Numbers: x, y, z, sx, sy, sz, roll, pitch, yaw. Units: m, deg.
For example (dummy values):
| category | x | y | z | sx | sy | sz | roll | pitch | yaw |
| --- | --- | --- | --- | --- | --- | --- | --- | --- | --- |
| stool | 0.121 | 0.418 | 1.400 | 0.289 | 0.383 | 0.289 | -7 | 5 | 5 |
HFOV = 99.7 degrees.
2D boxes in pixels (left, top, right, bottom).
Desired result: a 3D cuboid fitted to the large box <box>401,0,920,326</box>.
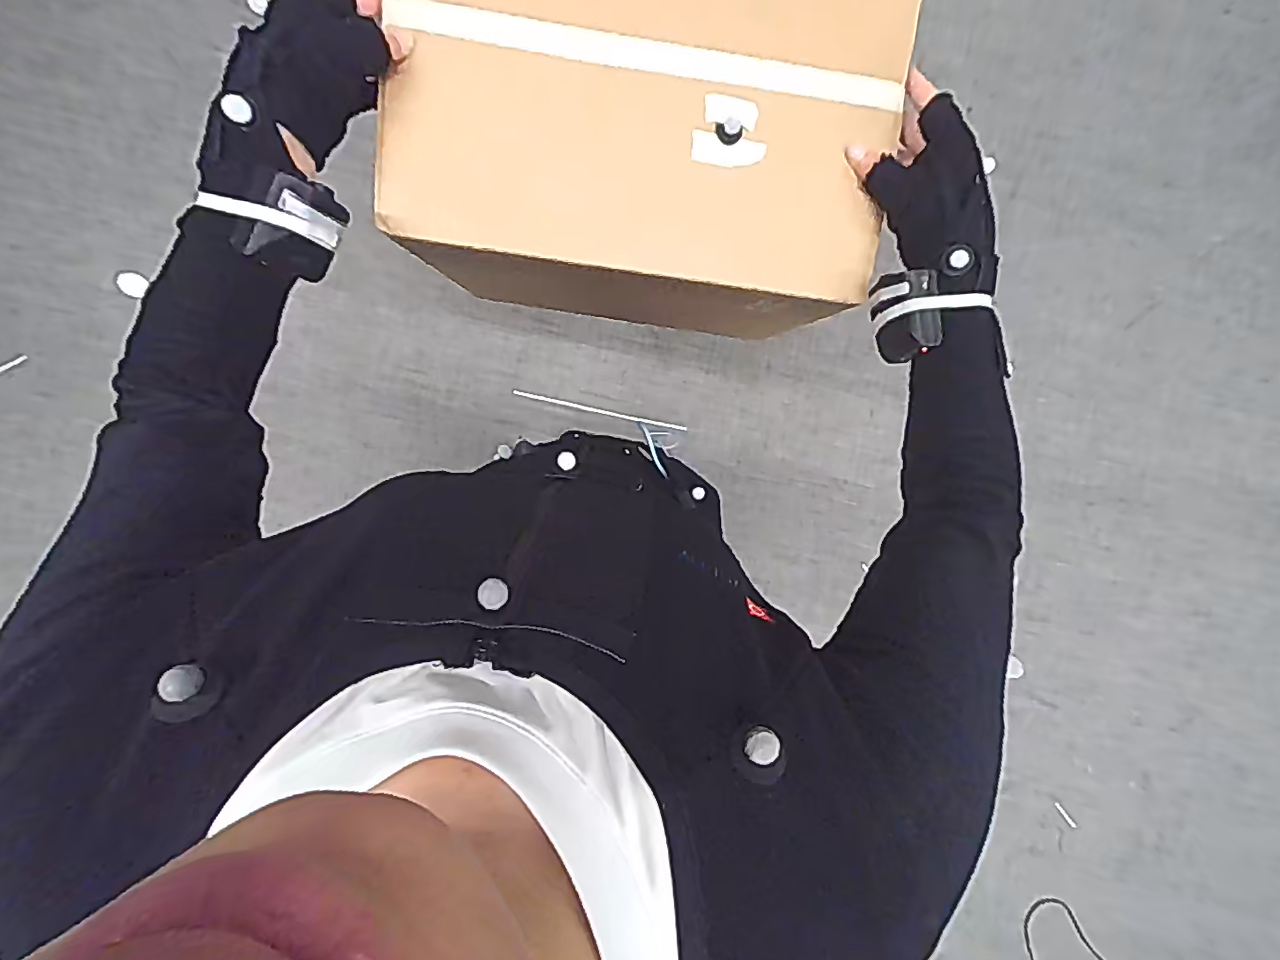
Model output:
| category | x | y | z | sx | sy | sz | roll | pitch | yaw |
| --- | --- | --- | --- | --- | --- | --- | --- | --- | --- |
| large box | 0.007 | -0.360 | 0.574 | 0.408 | 0.320 | 0.320 | 7 | 100 | -5 |
